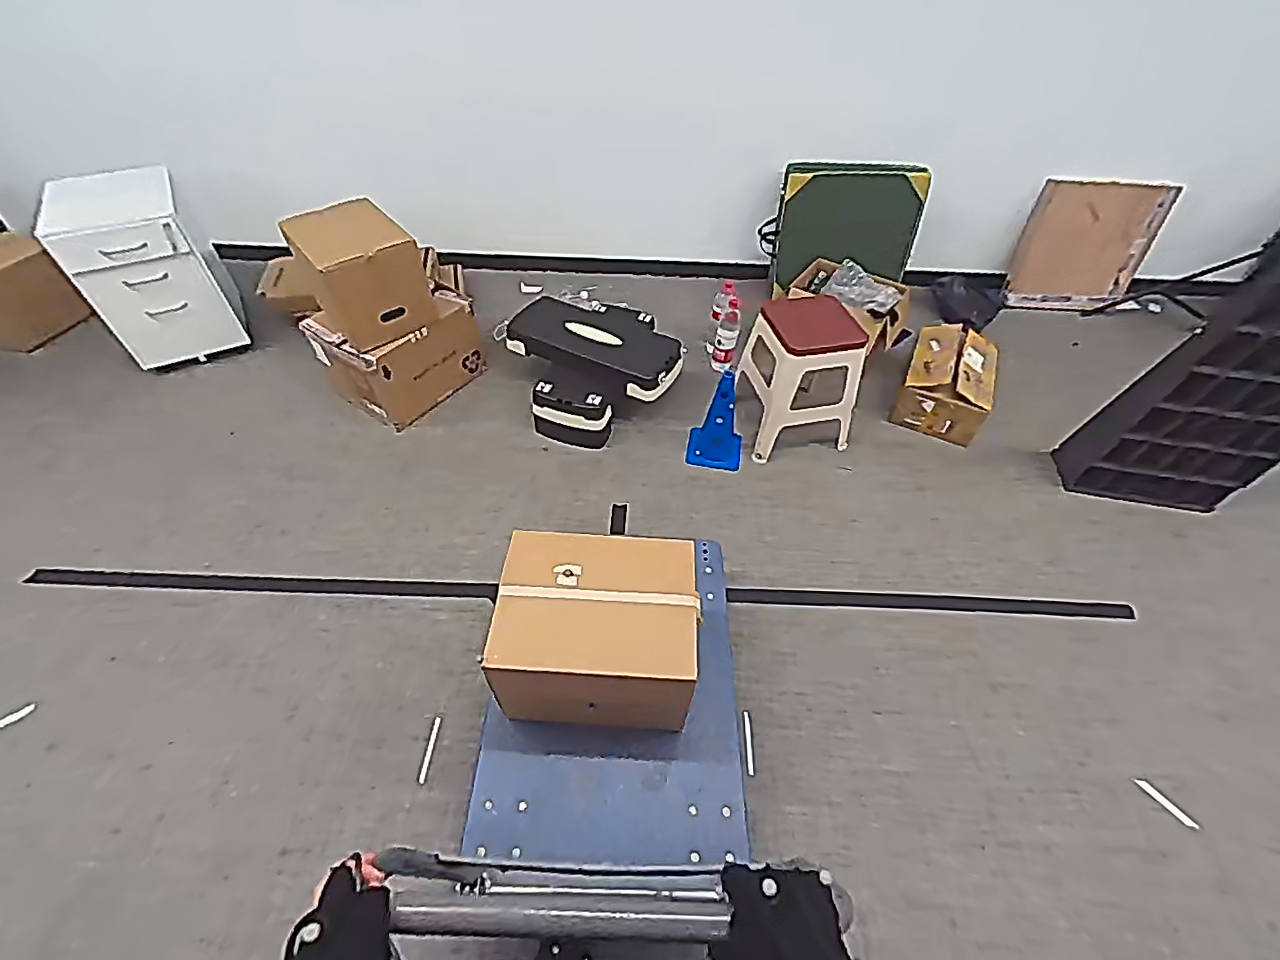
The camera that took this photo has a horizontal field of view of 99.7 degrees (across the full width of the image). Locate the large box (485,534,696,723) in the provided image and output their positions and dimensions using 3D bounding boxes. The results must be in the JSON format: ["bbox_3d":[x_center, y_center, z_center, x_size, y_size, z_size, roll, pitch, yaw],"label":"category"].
[{"bbox_3d":[-0.089,0.339,1.219,0.408,0.320,0.320,3,49,1],"label":"large box"}]
